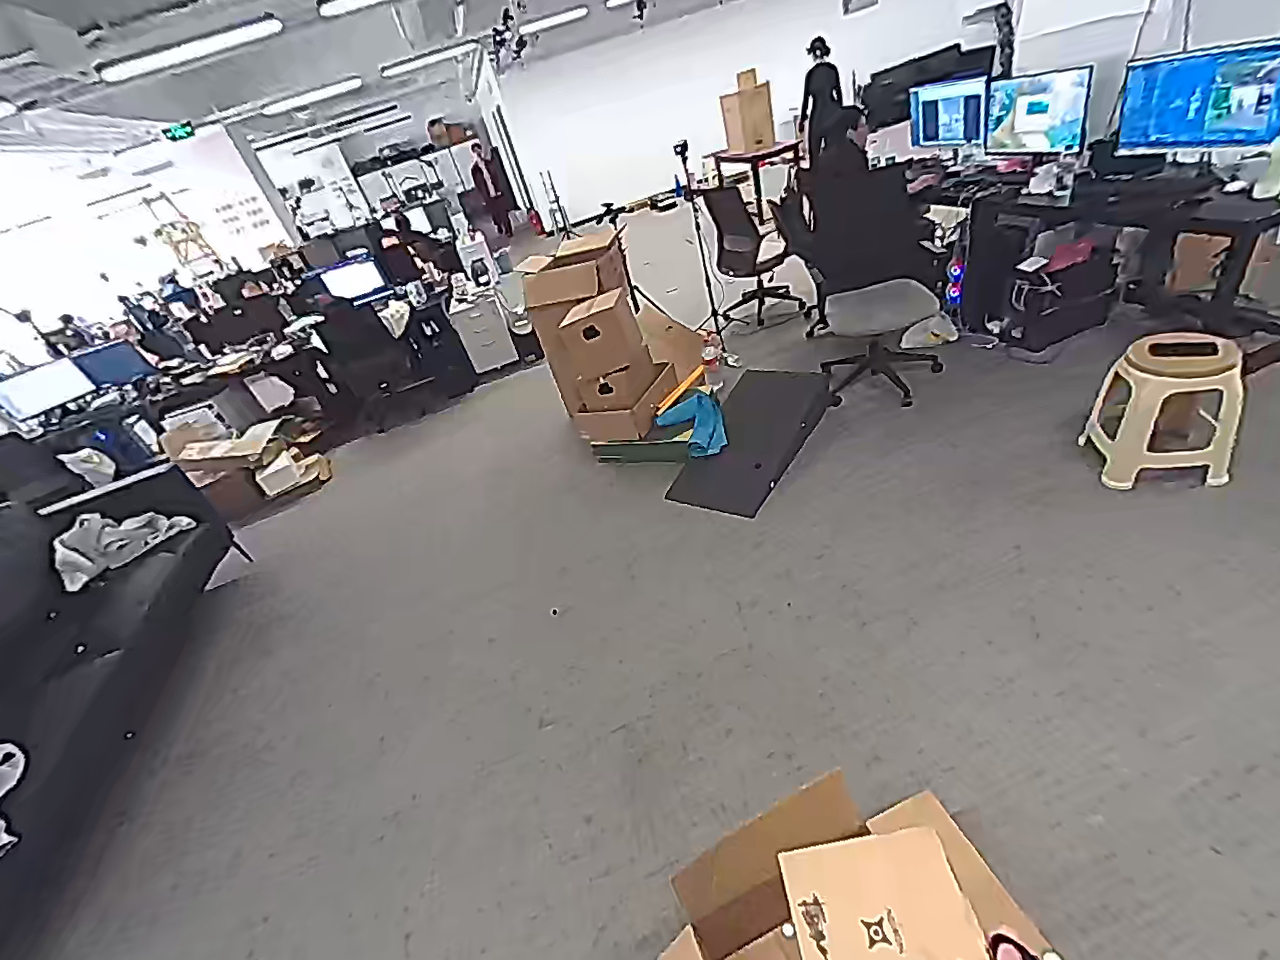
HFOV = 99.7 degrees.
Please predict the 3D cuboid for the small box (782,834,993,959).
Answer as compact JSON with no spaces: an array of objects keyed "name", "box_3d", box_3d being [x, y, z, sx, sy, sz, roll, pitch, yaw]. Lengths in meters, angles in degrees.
[{"name":"small box","box_3d":[0.269,0.516,0.588,0.179,0.176,0.168,-16,38,7]}]
